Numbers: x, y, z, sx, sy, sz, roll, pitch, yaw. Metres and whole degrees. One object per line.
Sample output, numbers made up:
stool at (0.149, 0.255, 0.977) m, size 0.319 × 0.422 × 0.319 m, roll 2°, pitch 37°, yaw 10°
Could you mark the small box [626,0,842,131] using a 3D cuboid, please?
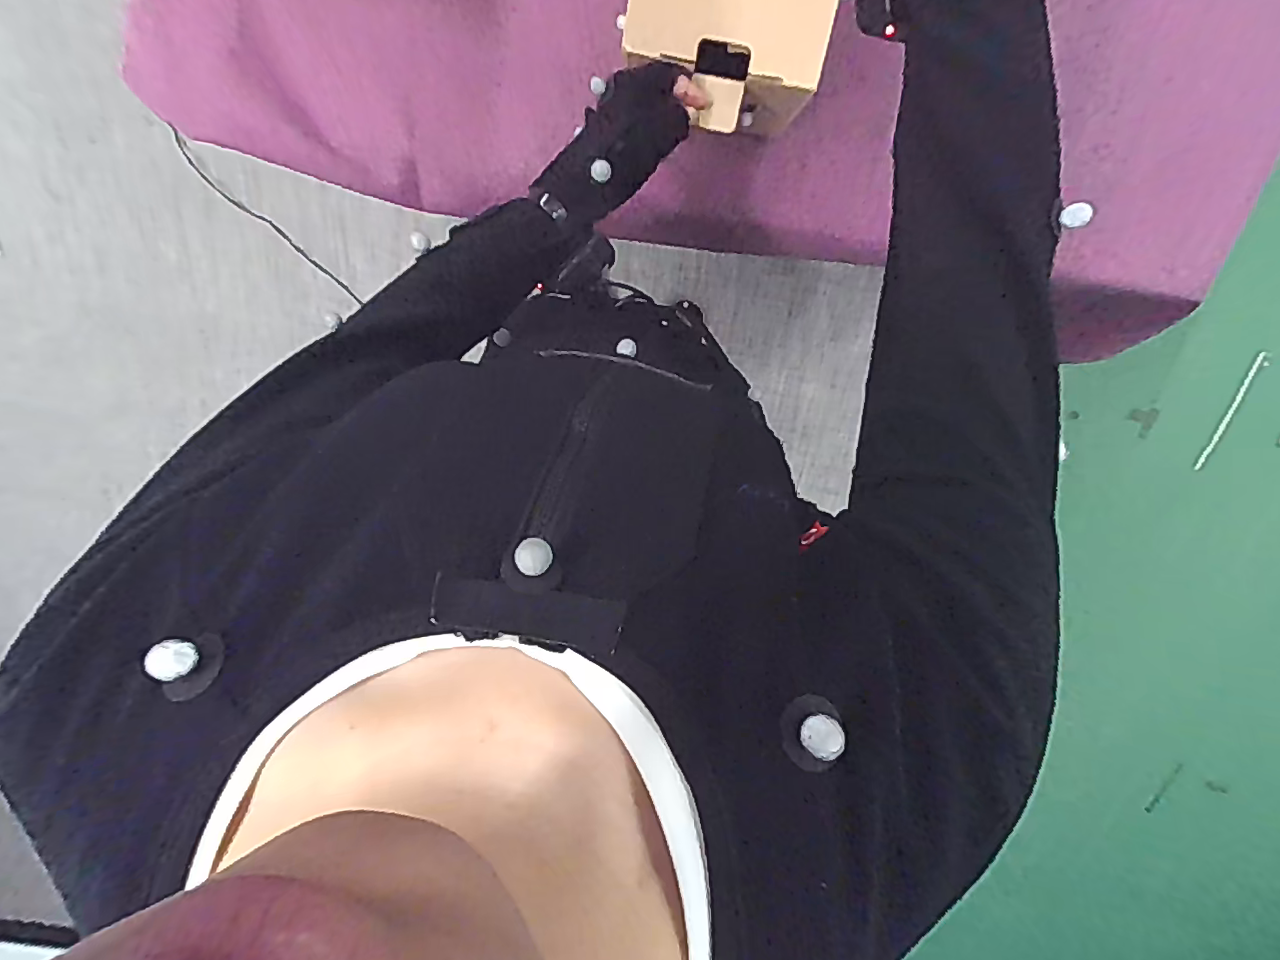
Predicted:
small box at (0.086, -0.440, 0.483) m, size 0.168 × 0.176 × 0.179 m, roll 10°, pitch 110°, yaw -2°
